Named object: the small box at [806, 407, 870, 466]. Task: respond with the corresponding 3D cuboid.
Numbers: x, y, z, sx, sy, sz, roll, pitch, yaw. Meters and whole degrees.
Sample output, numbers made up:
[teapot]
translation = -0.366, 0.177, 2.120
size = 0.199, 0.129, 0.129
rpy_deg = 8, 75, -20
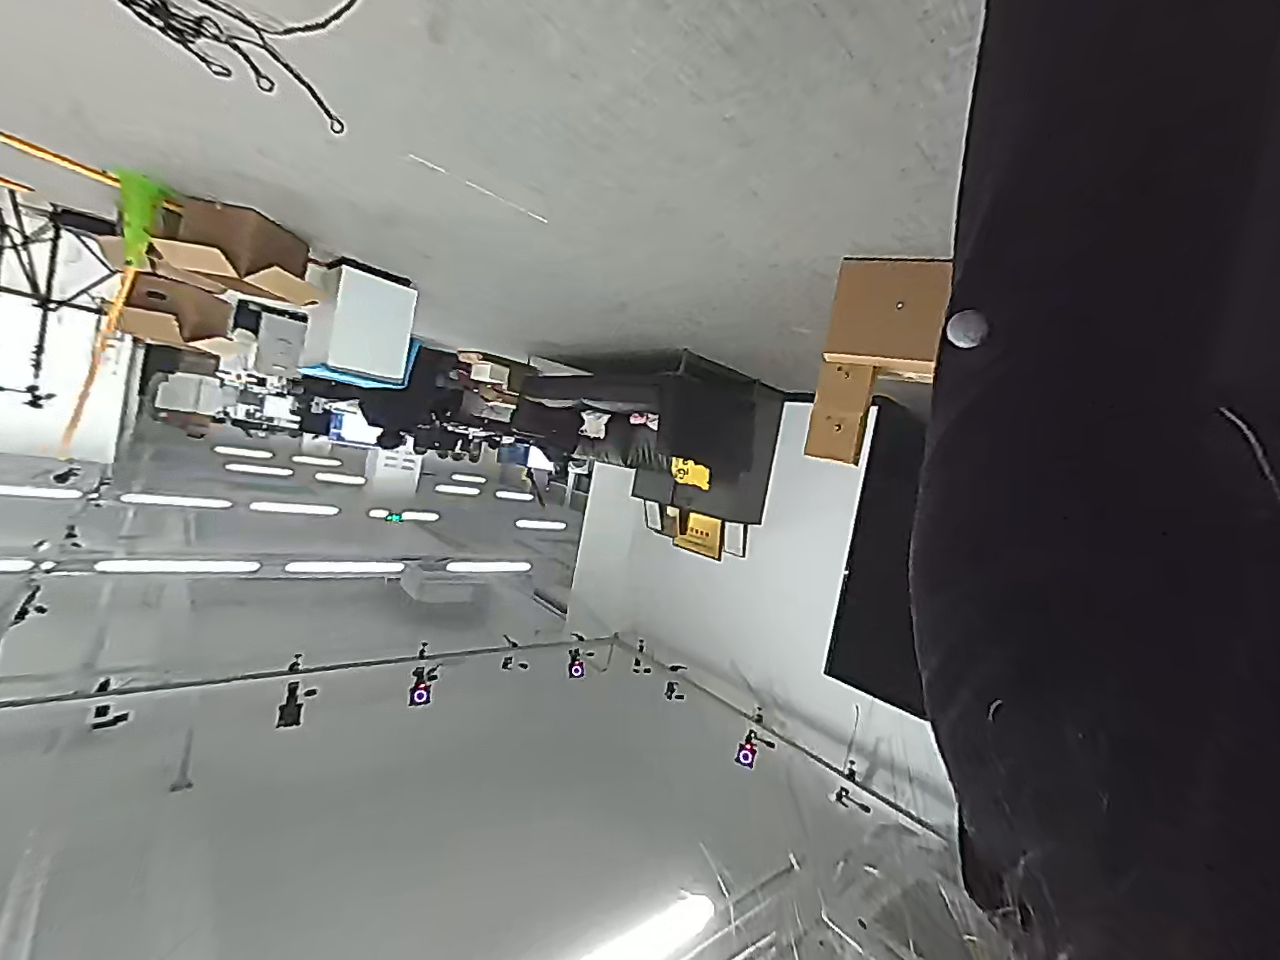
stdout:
[small box]
translation = 0.694, -0.151, 1.887
size = 0.168, 0.176, 0.179
rpy_deg = 12, -178, 29
